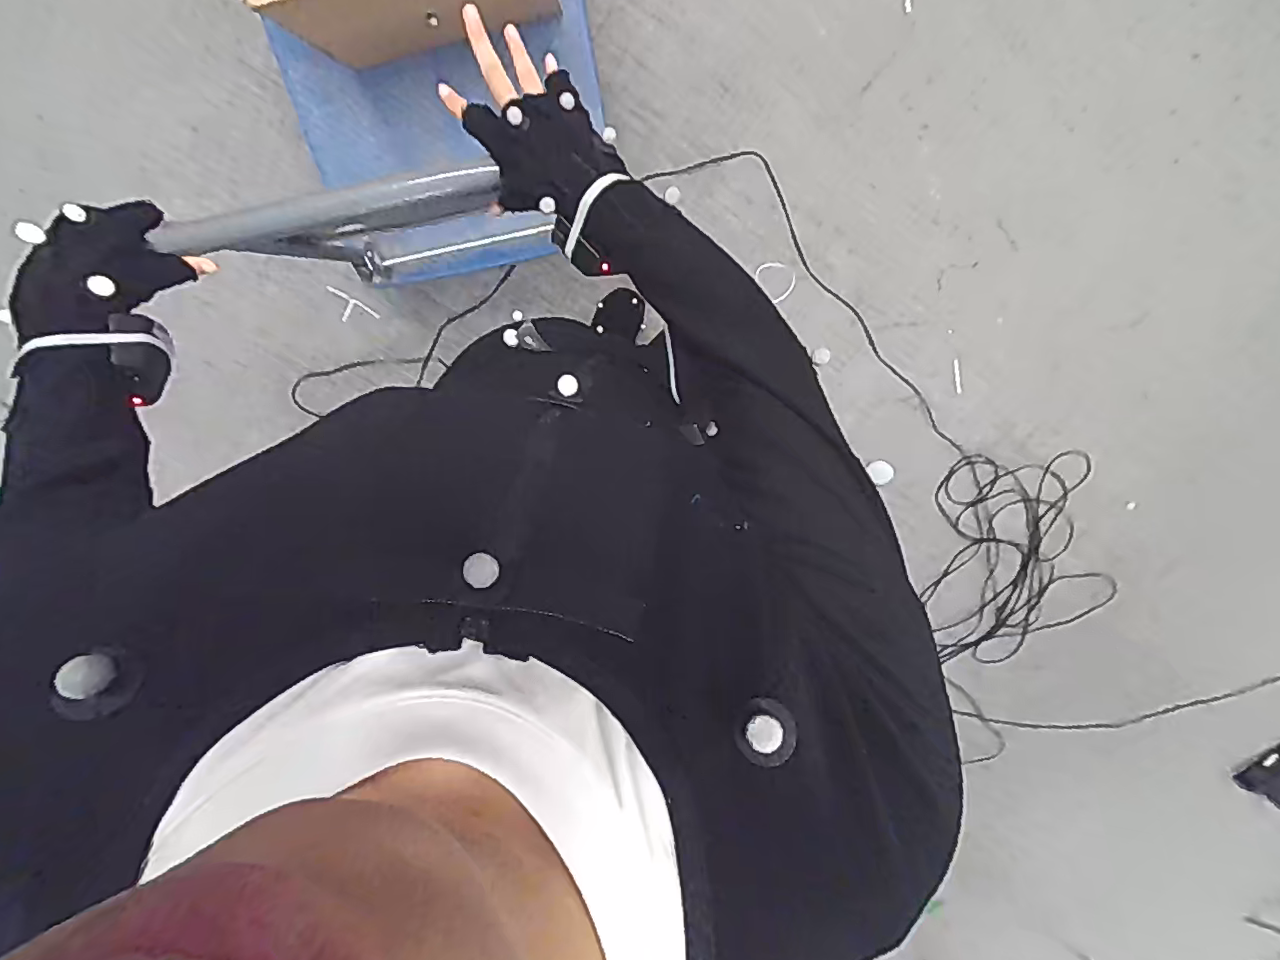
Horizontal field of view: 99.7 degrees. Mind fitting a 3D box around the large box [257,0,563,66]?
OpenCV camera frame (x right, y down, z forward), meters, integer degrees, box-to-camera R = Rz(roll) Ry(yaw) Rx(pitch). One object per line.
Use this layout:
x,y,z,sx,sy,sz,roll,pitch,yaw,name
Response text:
-0.360,-0.881,0.795,0.408,0.320,0.320,-11,113,6,large box
